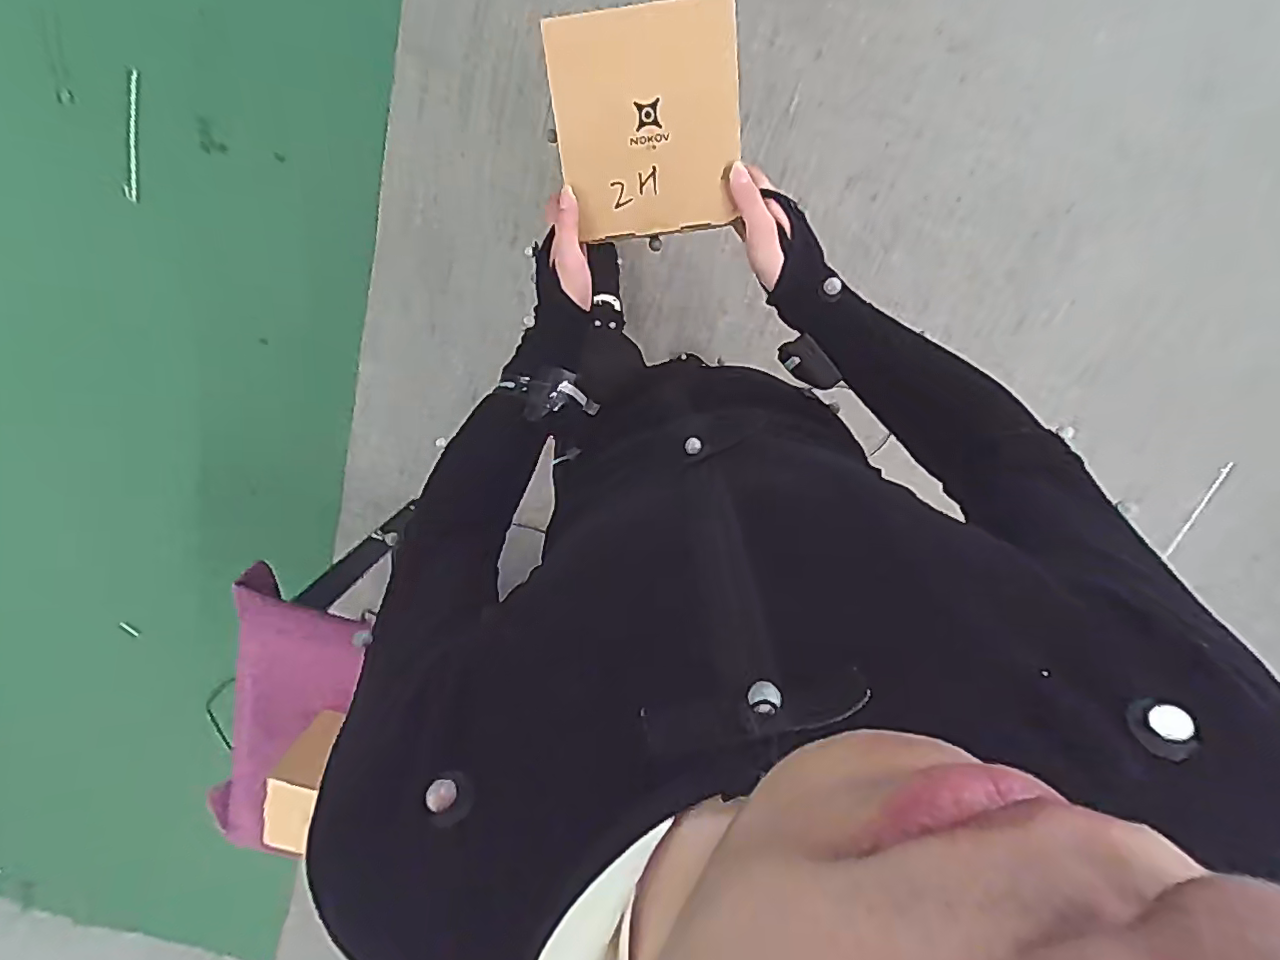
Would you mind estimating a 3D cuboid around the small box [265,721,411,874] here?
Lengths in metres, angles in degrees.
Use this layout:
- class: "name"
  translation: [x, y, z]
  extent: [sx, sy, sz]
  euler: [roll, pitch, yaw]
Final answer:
- class: "small box"
  translation: [-0.565, 0.591, 1.024]
  extent: [0.179, 0.176, 0.168]
  euler: [16, 109, -3]

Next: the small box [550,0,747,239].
- class: "small box"
  translation: [0.011, -0.348, 0.550]
  extent: [0.168, 0.176, 0.179]
  euler: [-5, 114, 3]
